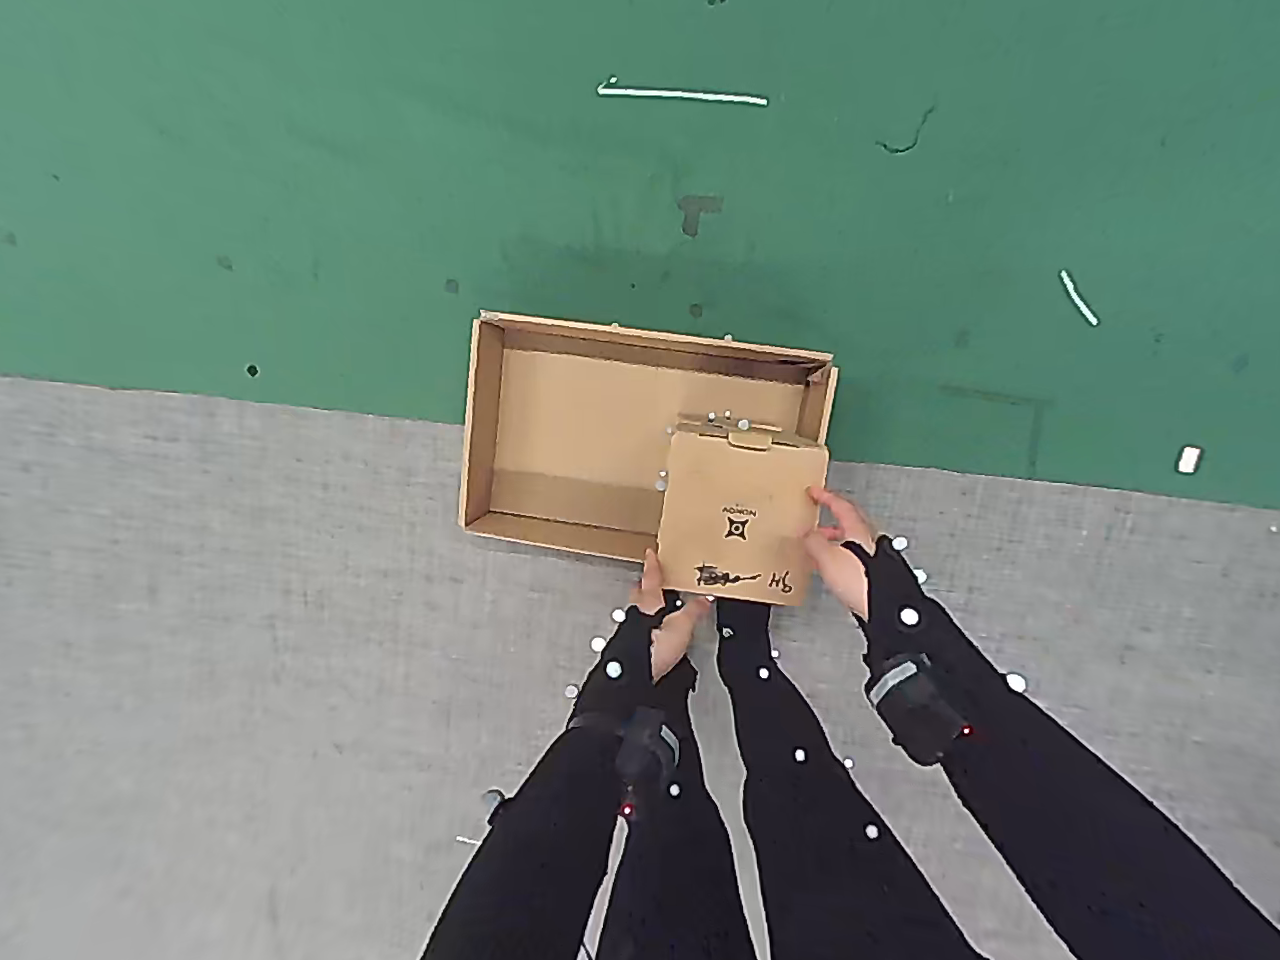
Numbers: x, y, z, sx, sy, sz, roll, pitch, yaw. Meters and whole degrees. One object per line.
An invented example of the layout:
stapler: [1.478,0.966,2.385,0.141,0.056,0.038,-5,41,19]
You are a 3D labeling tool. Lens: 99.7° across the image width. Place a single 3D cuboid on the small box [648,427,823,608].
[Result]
small box: [0.105,0.032,0.648,0.168,0.176,0.179,7,98,4]
